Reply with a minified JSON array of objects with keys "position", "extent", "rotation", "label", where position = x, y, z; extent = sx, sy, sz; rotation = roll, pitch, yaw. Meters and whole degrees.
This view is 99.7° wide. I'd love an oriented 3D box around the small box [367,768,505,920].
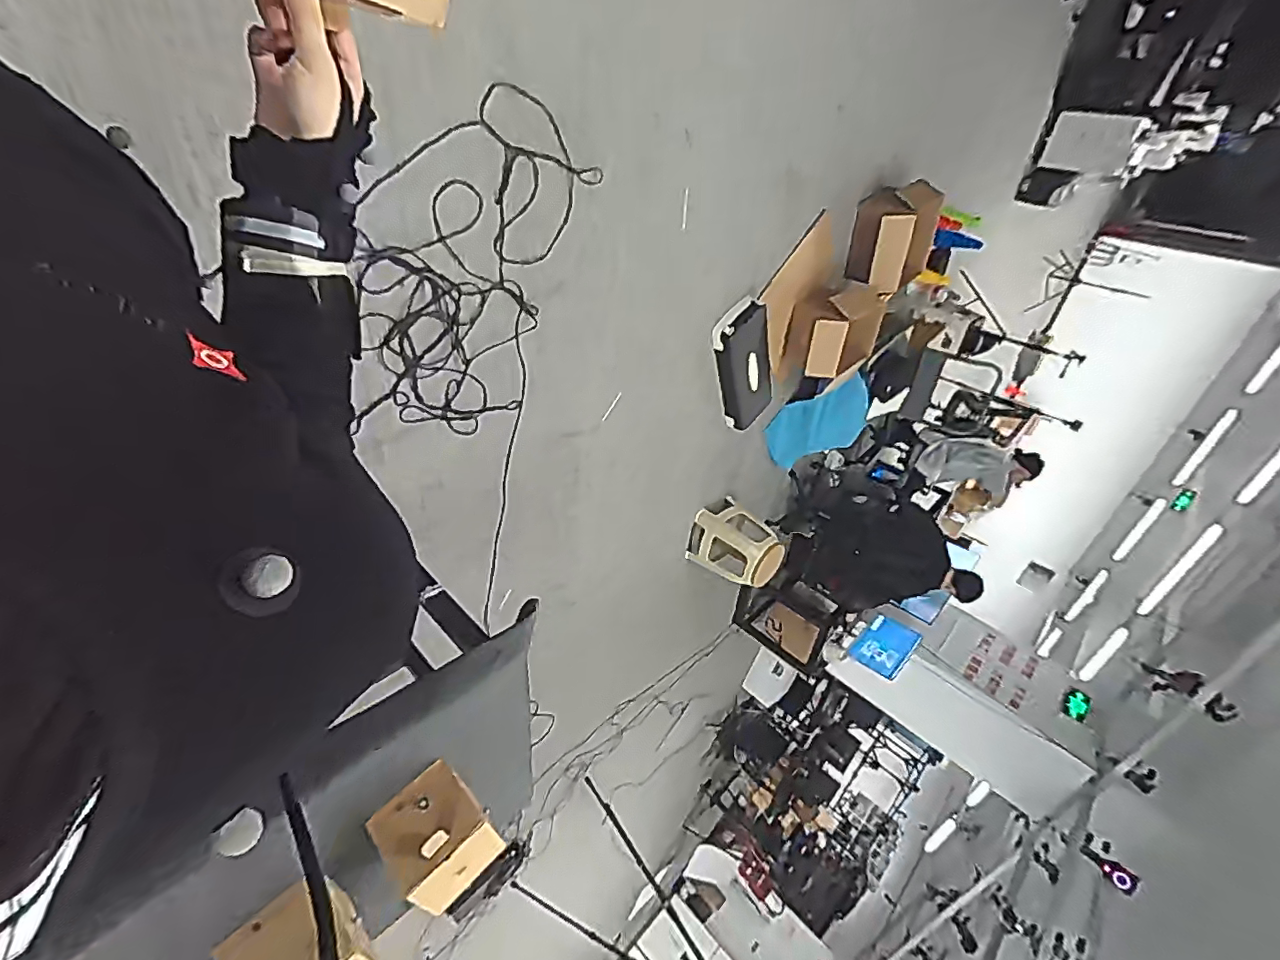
[{"position":[-0.398,0.709,1.065],"extent":[0.168,0.176,0.179],"rotation":[-37,142,-30],"label":"small box"}]
